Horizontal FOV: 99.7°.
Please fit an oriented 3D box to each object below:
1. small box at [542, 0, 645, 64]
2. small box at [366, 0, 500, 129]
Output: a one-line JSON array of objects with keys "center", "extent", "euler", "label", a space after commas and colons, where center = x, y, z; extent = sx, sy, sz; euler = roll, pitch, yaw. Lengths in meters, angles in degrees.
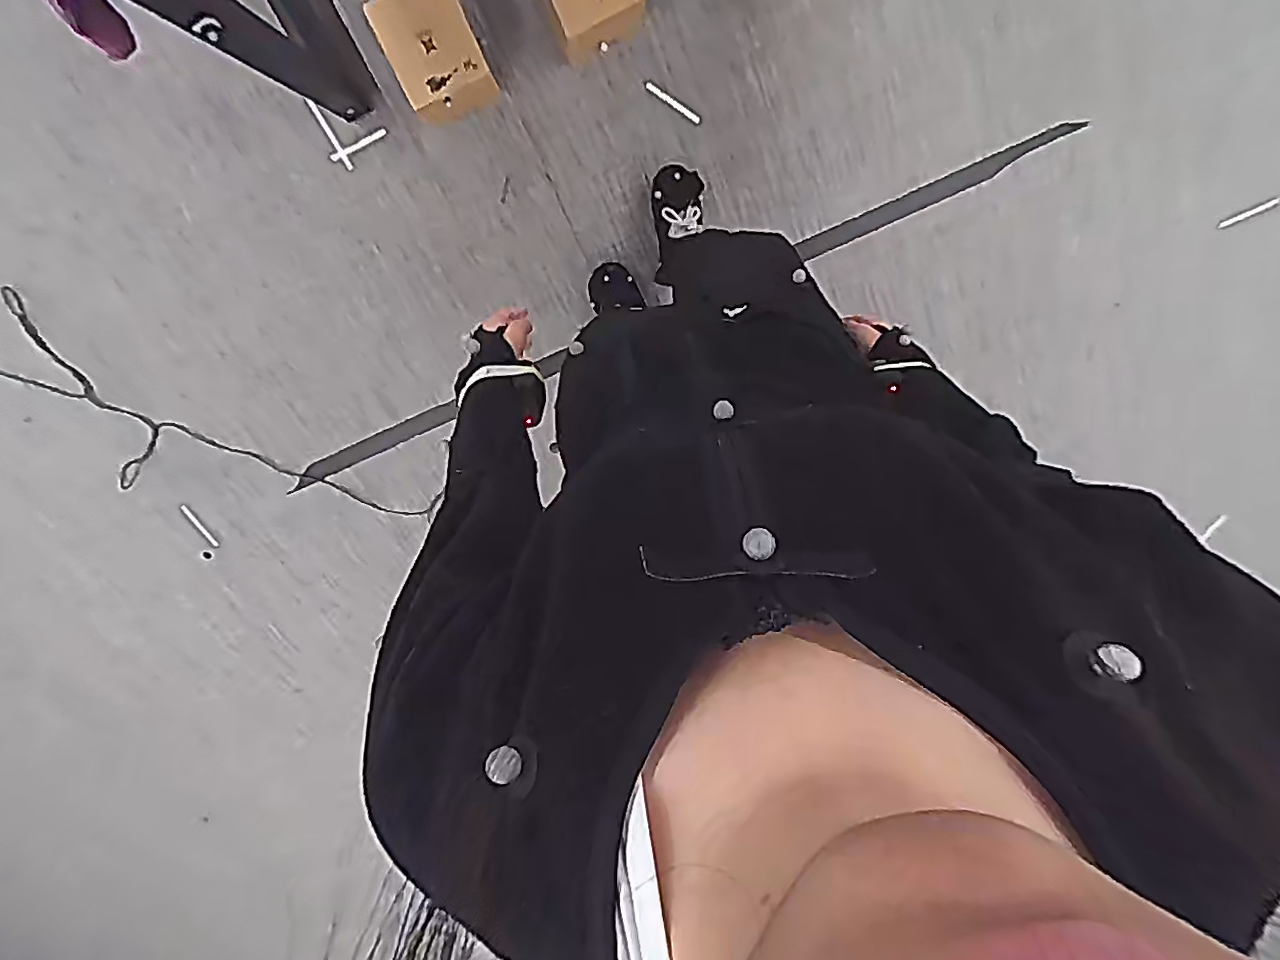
[{"center": [-0.105, -0.960, 1.047], "extent": [0.168, 0.176, 0.179], "euler": [-25, 114, 5], "label": "small box"}, {"center": [-0.396, -0.837, 1.069], "extent": [0.168, 0.176, 0.179], "euler": [-22, 112, 4], "label": "small box"}]
